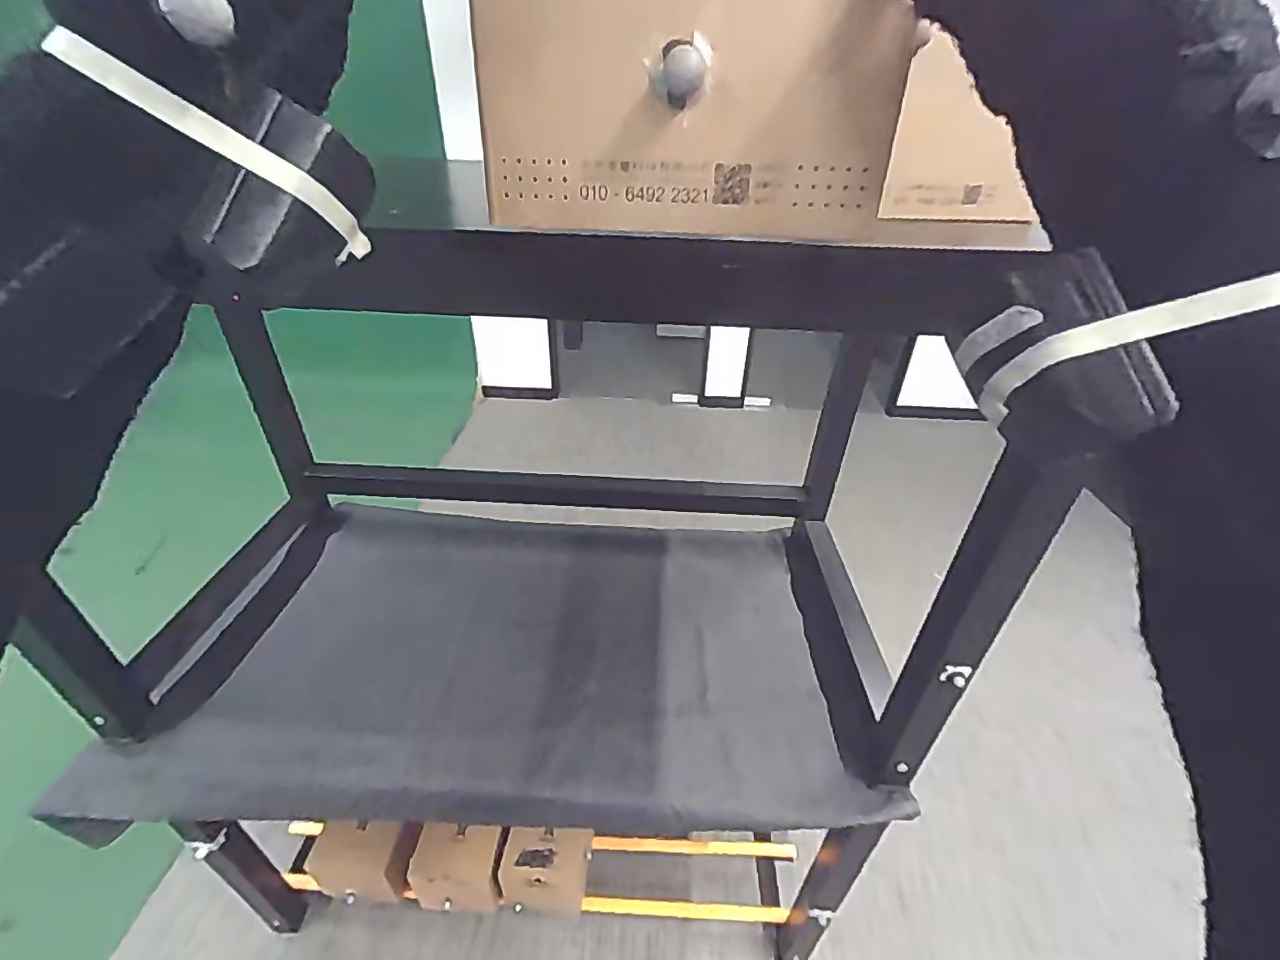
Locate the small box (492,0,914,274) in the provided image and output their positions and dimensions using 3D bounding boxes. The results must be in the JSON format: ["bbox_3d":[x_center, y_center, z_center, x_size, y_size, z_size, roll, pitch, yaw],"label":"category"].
[{"bbox_3d":[0.027,-0.210,0.277,0.168,0.176,0.179,4,29,5],"label":"small box"}]
